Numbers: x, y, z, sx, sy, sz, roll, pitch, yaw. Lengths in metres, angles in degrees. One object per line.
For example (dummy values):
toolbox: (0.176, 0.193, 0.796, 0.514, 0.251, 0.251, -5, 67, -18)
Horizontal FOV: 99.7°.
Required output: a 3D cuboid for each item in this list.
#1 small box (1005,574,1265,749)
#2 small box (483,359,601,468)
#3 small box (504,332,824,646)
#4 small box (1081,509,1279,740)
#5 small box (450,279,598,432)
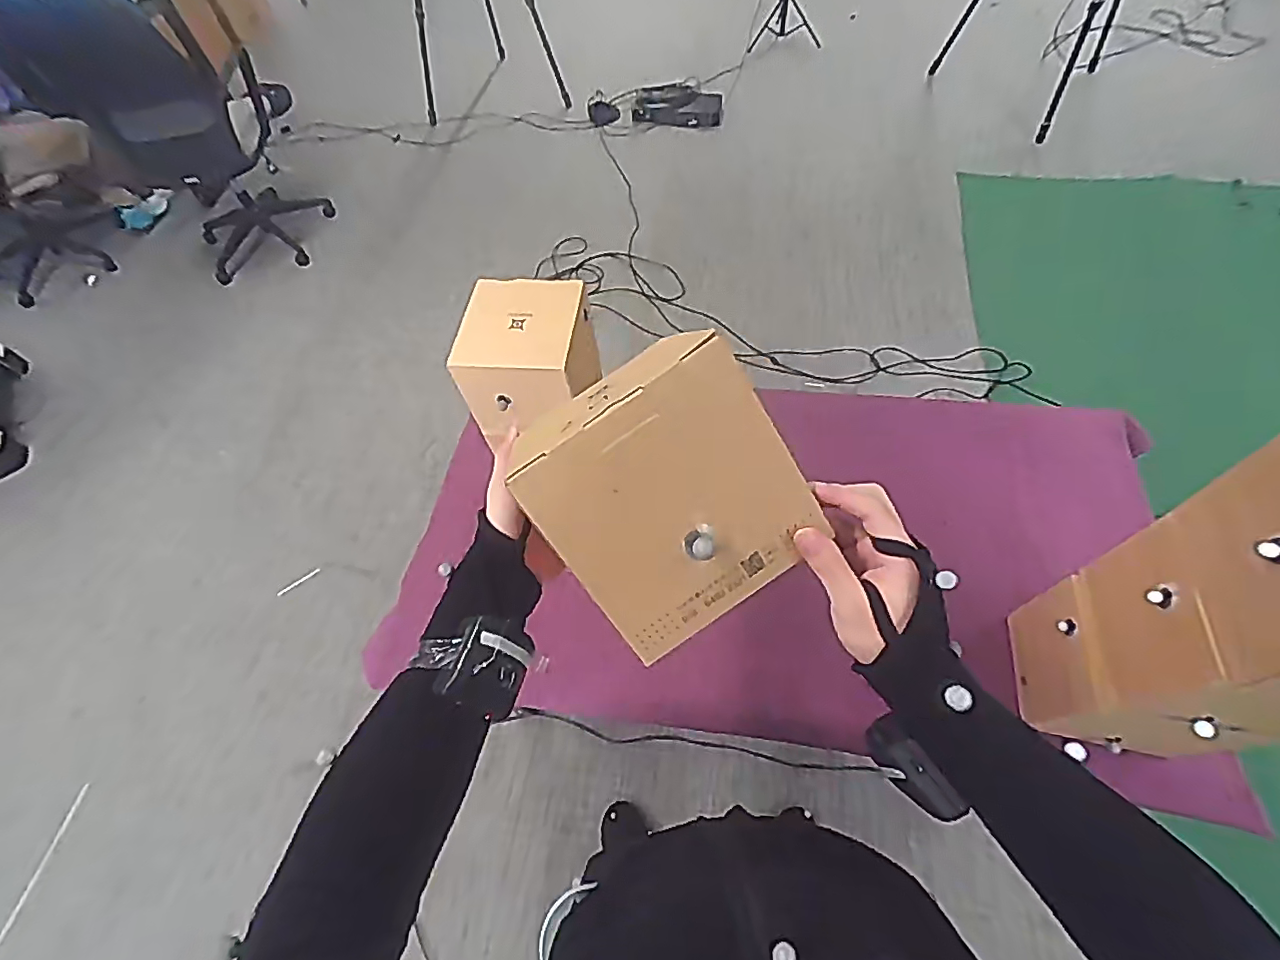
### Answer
small box: (0.619, 0.242, 0.705, 0.179, 0.176, 0.168, 9, 59, 10)
small box: (-0.156, -0.105, 0.972, 0.179, 0.176, 0.168, 2, 60, 6)
small box: (0.013, -0.001, 0.442, 0.168, 0.179, 0.176, -35, 107, 0)
small box: (0.610, 0.155, 0.568, 0.168, 0.176, 0.179, 8, 60, 11)
small box: (-0.163, -0.182, 0.830, 0.168, 0.176, 0.179, 3, 60, 6)
